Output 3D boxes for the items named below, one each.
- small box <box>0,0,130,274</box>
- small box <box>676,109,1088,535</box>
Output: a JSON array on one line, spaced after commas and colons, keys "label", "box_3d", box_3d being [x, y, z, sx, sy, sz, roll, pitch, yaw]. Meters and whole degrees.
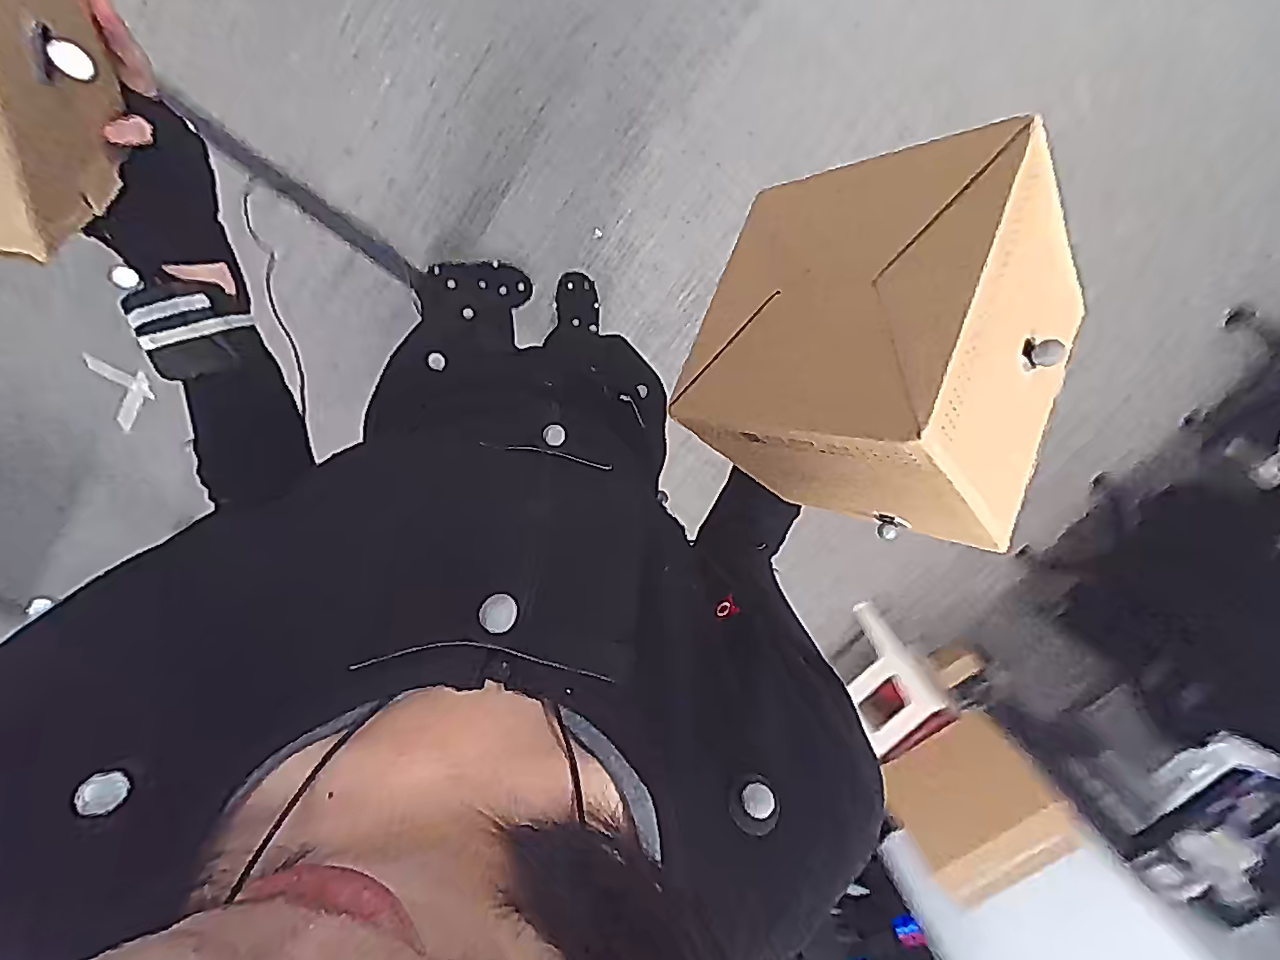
[{"label": "small box", "box_3d": [-0.344, -0.208, 0.203, 0.179, 0.168, 0.176, 1, 133, -29]}, {"label": "small box", "box_3d": [0.154, -0.083, 0.347, 0.176, 0.168, 0.179, 26, 82, -39]}]
